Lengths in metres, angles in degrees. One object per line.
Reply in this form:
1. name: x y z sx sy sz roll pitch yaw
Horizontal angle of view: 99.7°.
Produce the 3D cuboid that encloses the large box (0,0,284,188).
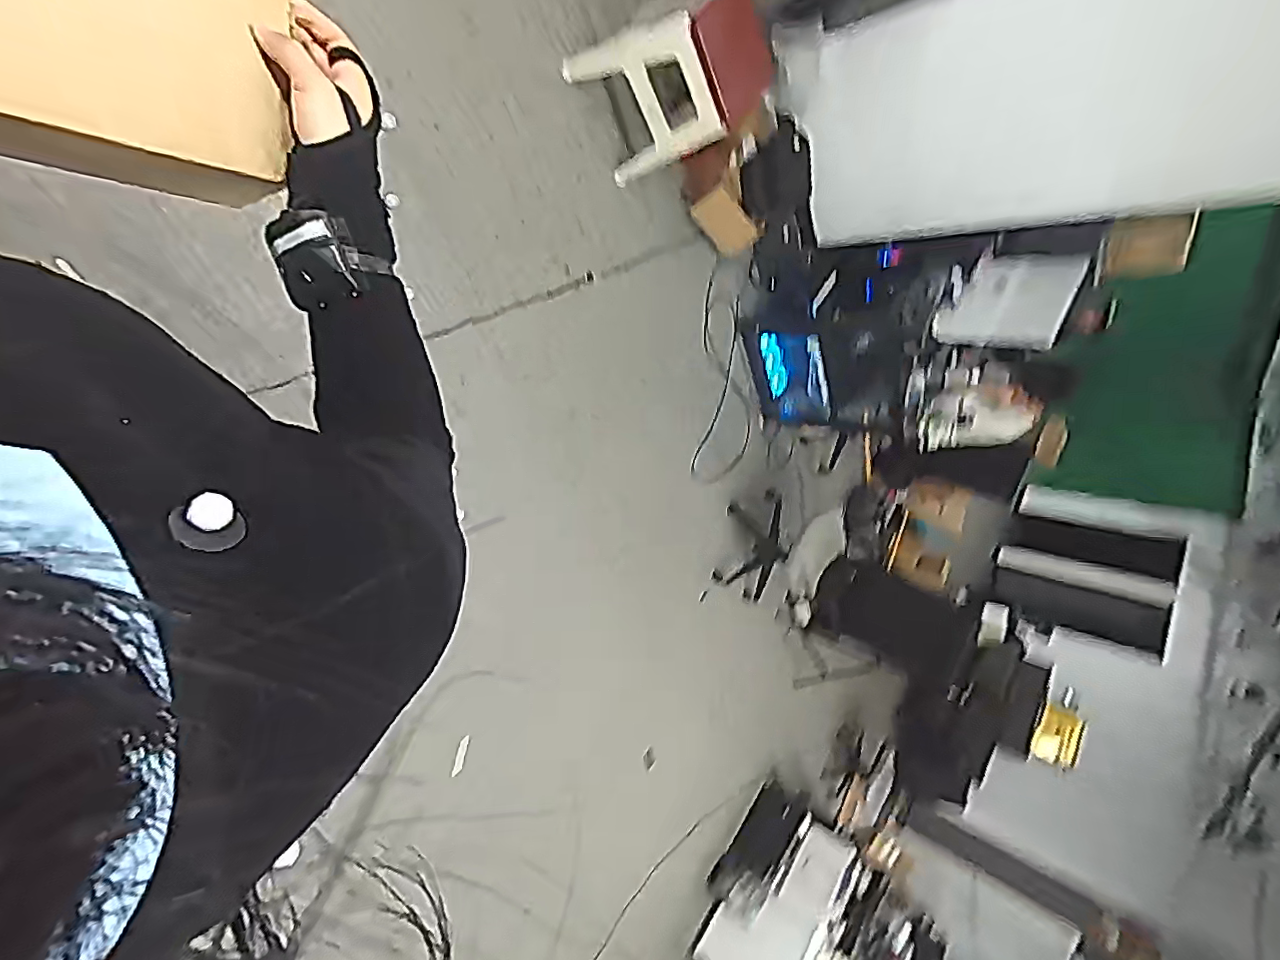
1. large box: -0.507 -0.418 0.363 0.408 0.320 0.320 -6 111 -41
